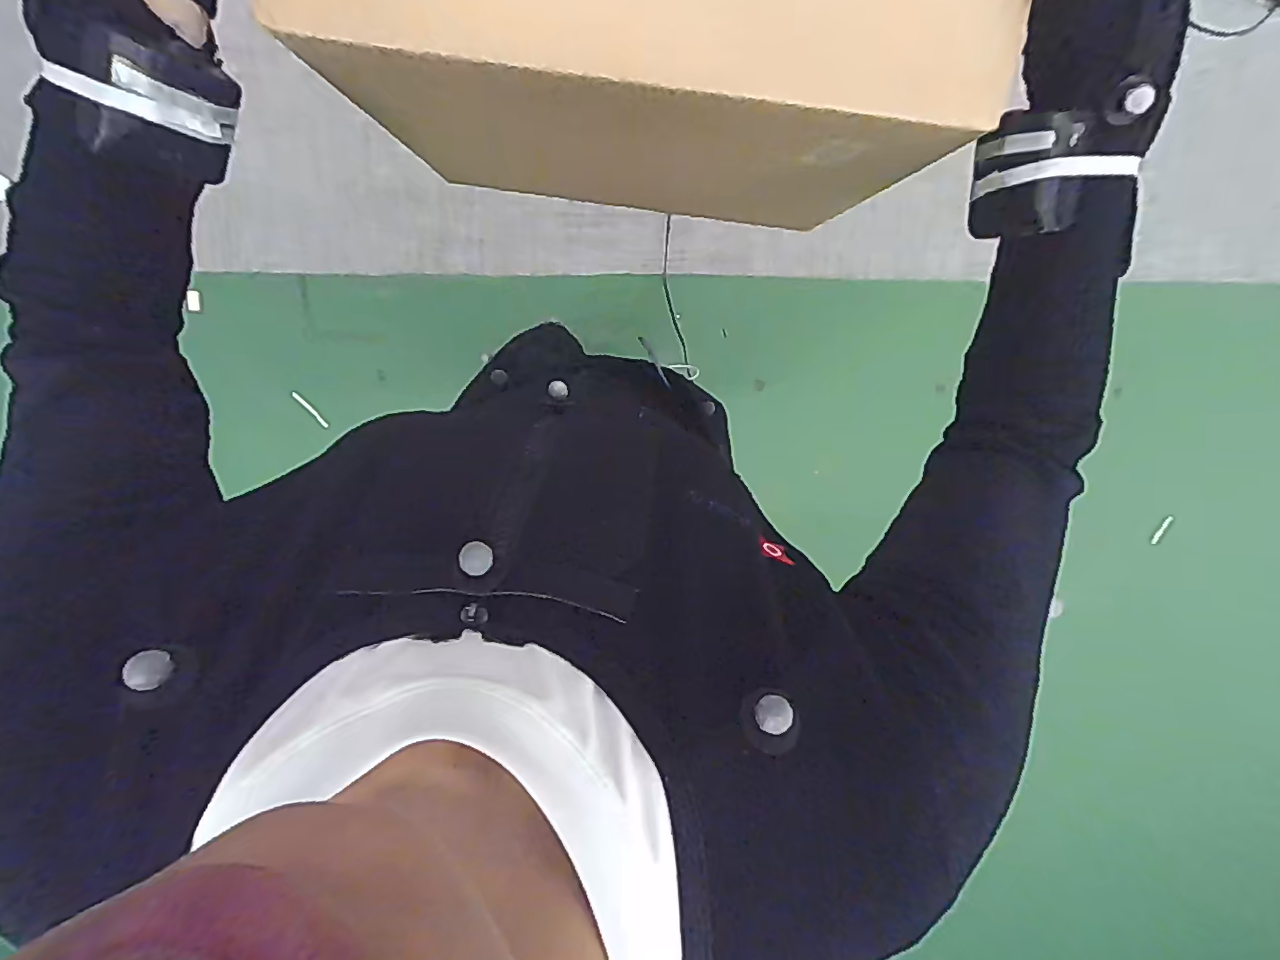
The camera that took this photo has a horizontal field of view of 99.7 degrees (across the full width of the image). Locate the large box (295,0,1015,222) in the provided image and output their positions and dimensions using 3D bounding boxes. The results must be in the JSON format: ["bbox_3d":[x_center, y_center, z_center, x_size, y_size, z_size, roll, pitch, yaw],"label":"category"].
[{"bbox_3d":[0.016,-0.409,0.412,0.408,0.320,0.320,5,106,-3],"label":"large box"}]
